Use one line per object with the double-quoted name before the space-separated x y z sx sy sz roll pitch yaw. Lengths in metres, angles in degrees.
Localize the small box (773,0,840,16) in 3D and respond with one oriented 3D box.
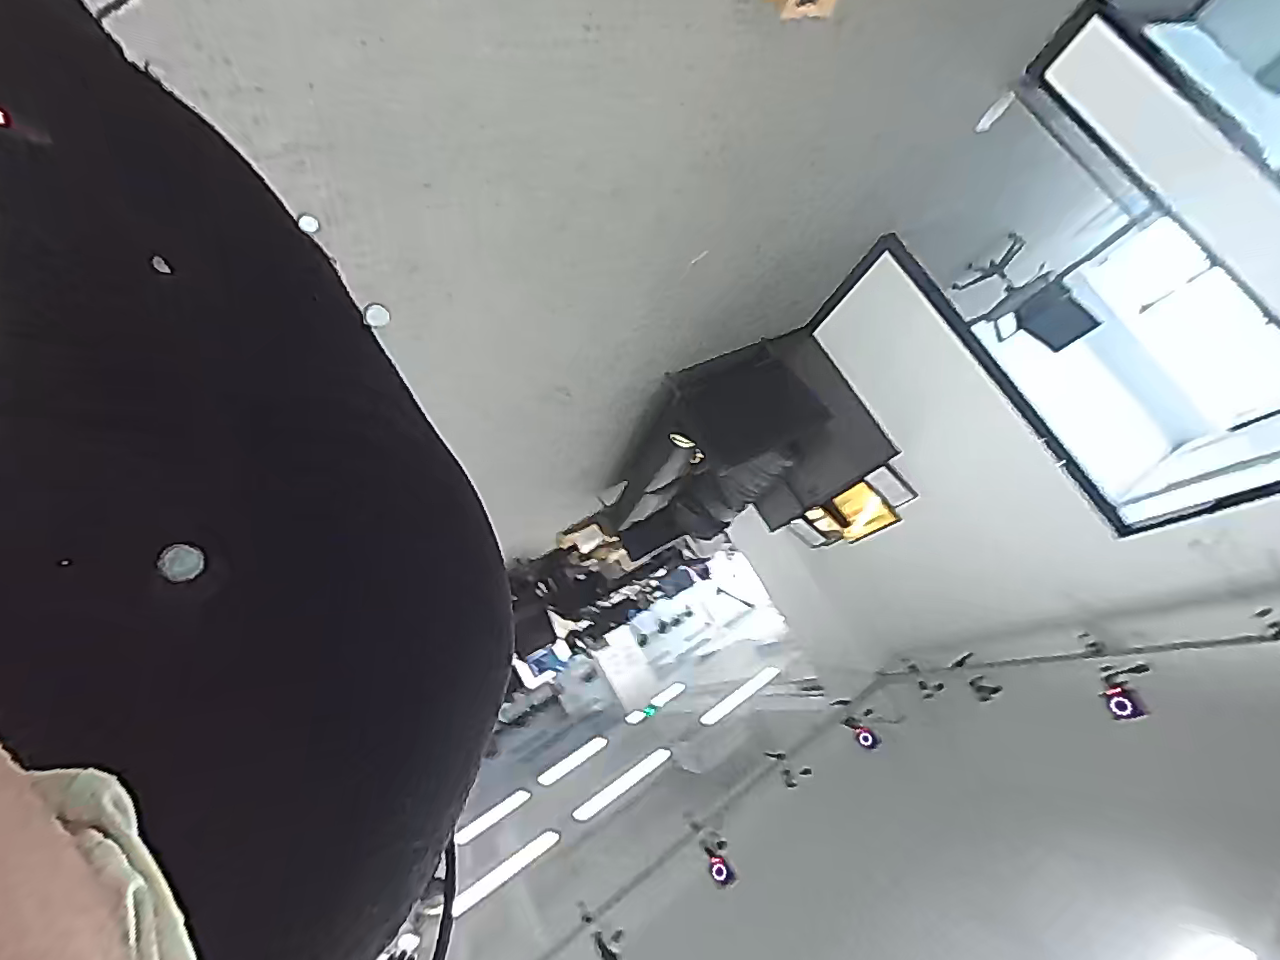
"small box" 0.373 -1.177 1.193 0.168 0.176 0.179 -25 166 -24
